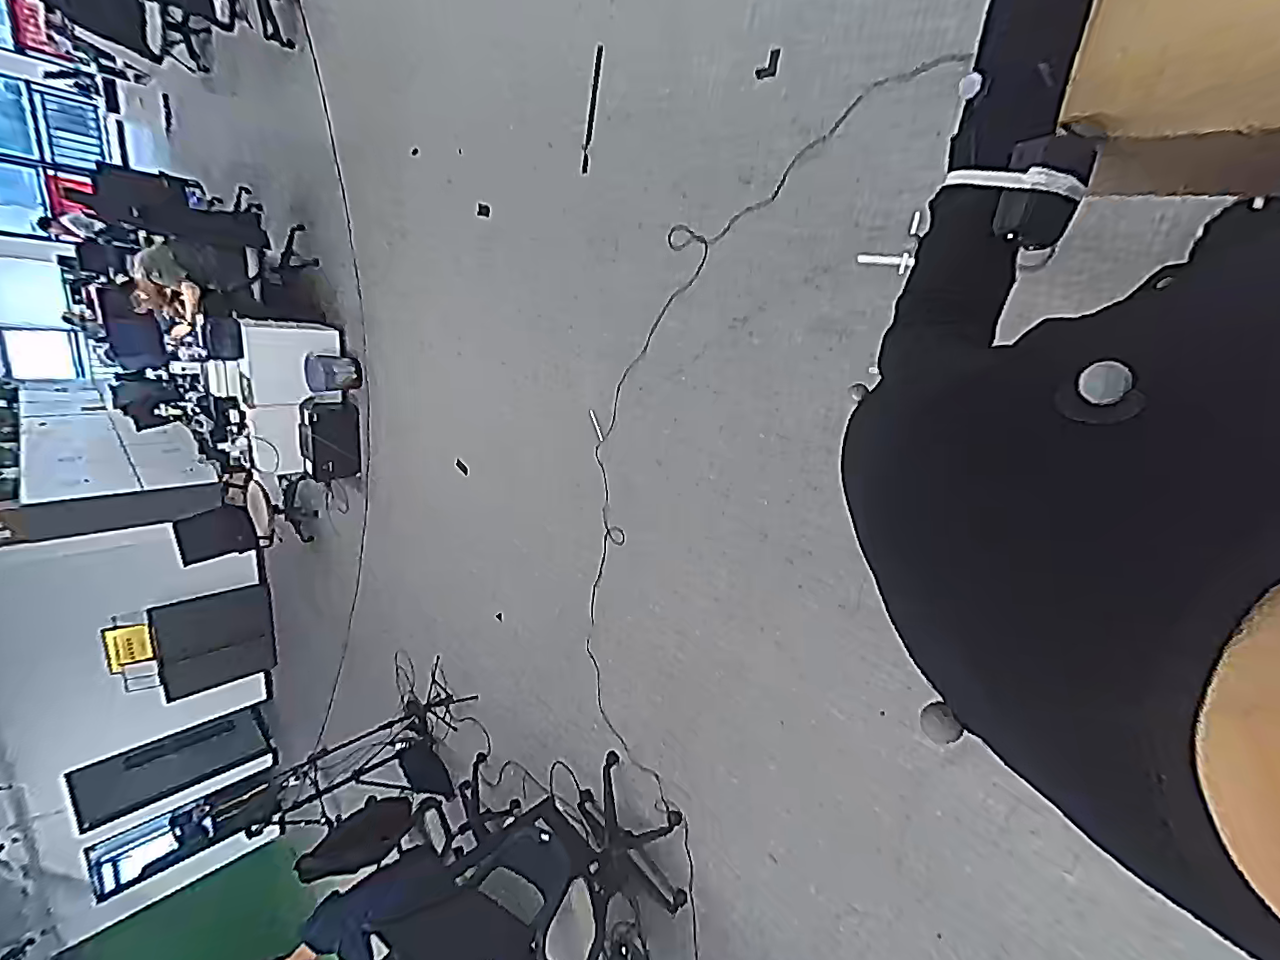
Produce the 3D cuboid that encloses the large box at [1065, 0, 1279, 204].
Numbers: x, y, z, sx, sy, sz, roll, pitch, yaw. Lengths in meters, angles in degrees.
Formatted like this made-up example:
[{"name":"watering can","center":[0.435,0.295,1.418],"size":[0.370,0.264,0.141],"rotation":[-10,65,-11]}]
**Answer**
[{"name":"large box","center":[0.554,-0.366,0.331],"size":[0.408,0.320,0.320],"rotation":[19,117,35]}]
